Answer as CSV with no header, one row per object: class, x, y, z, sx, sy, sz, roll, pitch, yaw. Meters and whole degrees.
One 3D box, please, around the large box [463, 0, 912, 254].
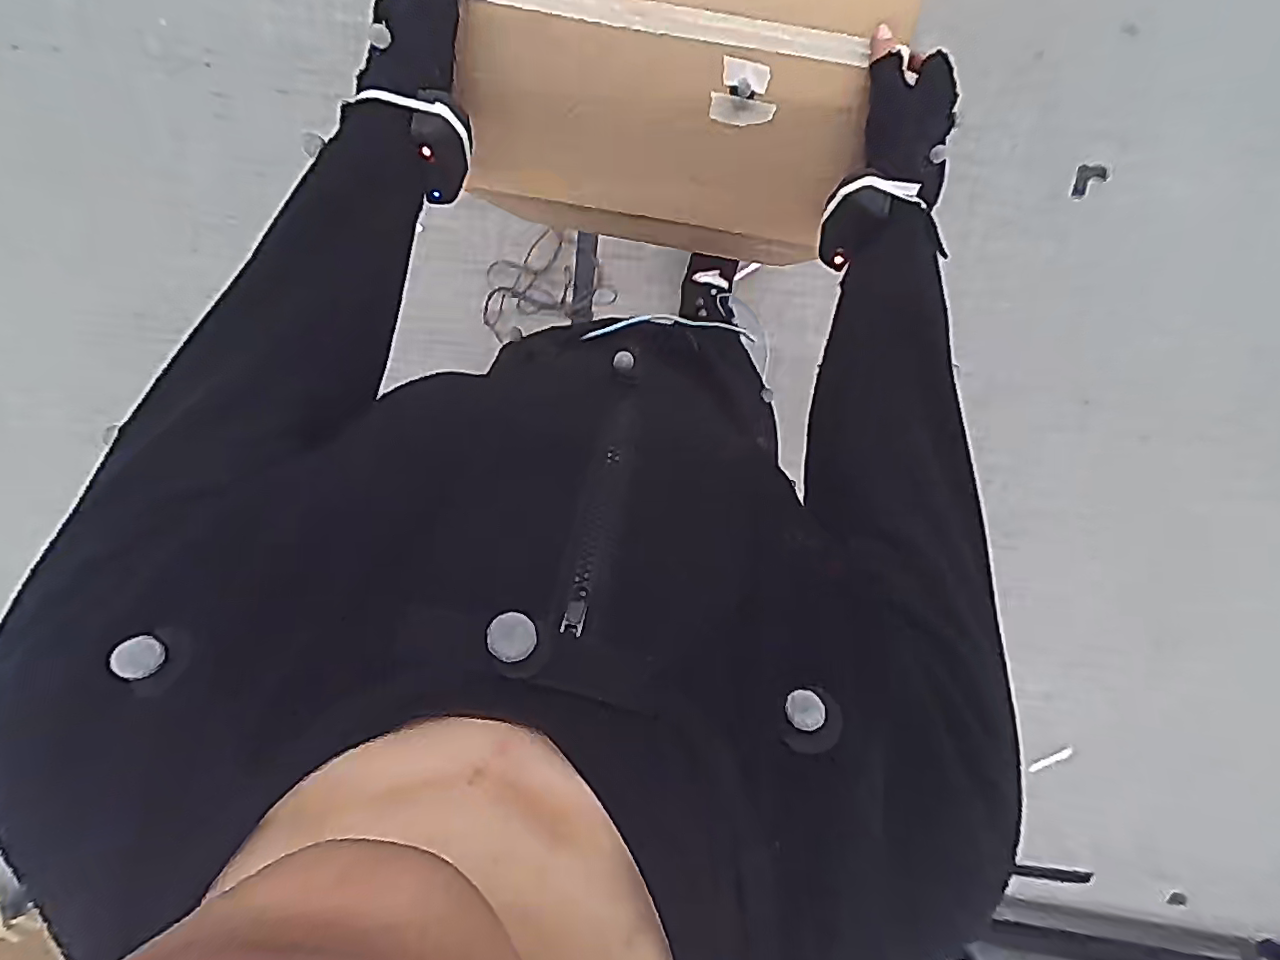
large box,0.041,-0.463,0.630,0.408,0.320,0.320,8,110,-2
